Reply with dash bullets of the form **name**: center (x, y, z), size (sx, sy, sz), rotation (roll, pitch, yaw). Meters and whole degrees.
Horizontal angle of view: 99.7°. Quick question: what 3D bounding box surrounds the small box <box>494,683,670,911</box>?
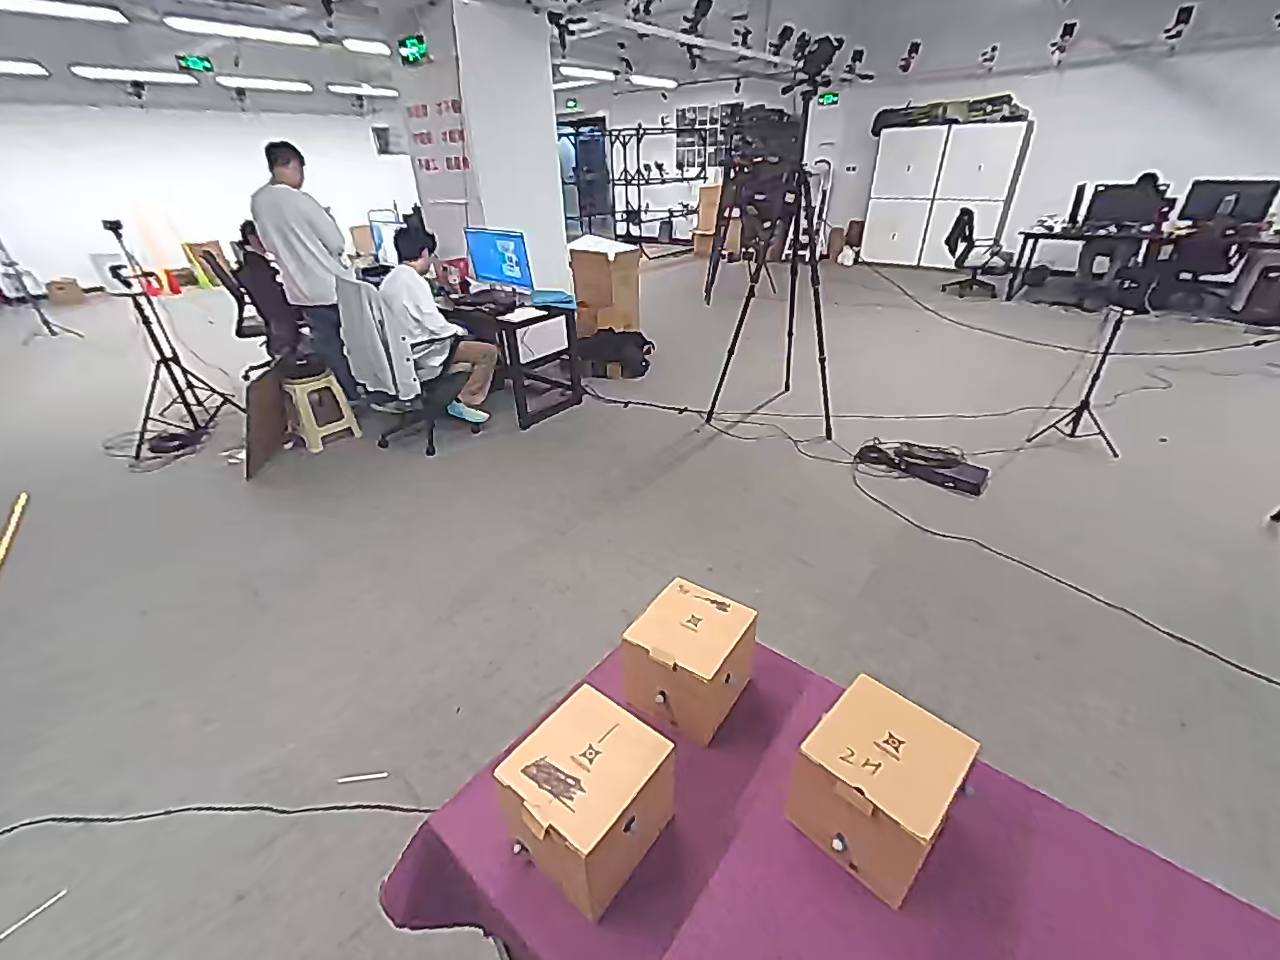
- **small box**: center (-0.071, 0.430, 0.743), size (0.168, 0.176, 0.179), rotation (21, 36, 33)

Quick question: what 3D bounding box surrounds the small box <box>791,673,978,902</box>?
- **small box**: center (0.325, 0.414, 0.744), size (0.179, 0.176, 0.168), rotation (-27, 38, -35)

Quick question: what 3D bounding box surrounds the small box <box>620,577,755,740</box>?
- **small box**: center (0.086, 0.308, 0.940), size (0.168, 0.176, 0.179), rotation (19, 38, 31)
